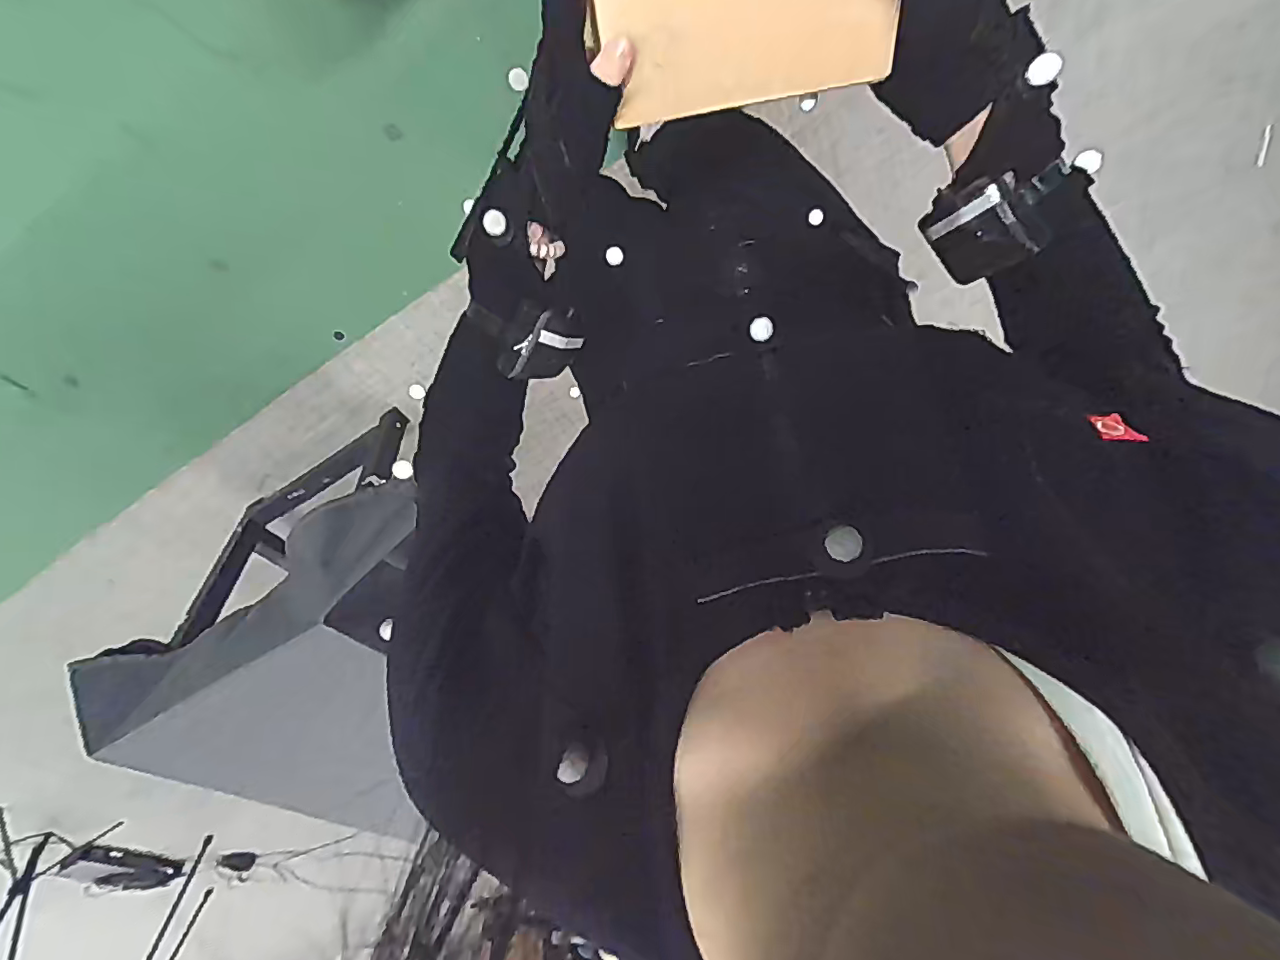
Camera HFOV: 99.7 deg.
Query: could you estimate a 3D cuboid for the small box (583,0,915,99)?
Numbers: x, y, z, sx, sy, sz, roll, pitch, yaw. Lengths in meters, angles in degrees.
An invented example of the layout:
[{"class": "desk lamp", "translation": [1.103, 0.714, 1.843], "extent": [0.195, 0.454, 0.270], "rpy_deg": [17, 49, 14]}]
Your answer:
[{"class": "small box", "translation": [0.048, -0.345, 0.317], "extent": [0.179, 0.176, 0.168], "rpy_deg": [-12, 133, -1]}]
